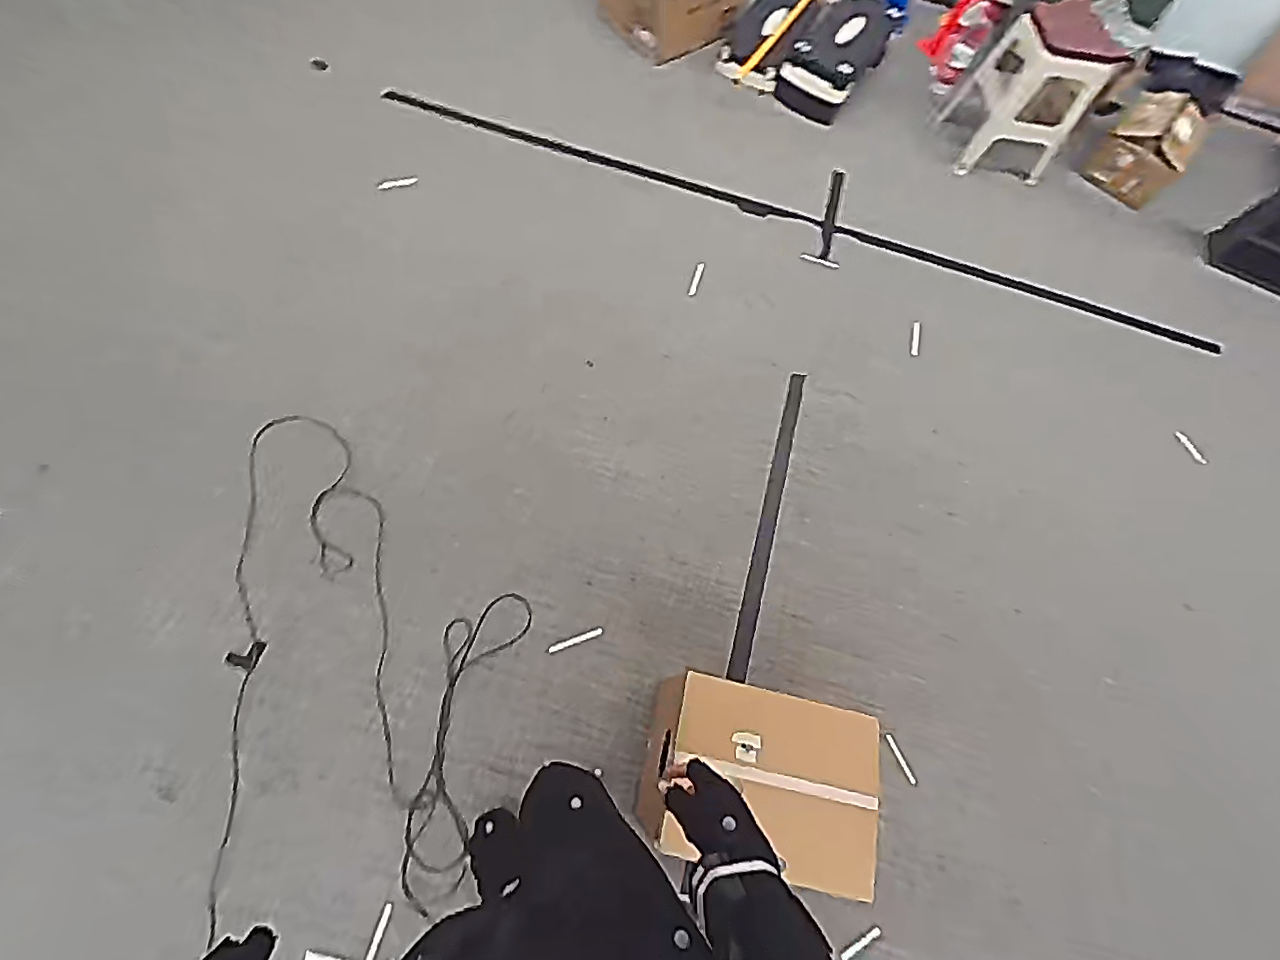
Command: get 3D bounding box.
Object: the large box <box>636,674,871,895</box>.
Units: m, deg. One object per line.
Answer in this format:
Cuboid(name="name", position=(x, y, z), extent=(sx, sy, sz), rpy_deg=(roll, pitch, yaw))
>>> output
Cuboid(name="large box", position=(0.230, 0.628, 1.167), extent=(0.408, 0.320, 0.320), rpy_deg=(14, 65, -1))
